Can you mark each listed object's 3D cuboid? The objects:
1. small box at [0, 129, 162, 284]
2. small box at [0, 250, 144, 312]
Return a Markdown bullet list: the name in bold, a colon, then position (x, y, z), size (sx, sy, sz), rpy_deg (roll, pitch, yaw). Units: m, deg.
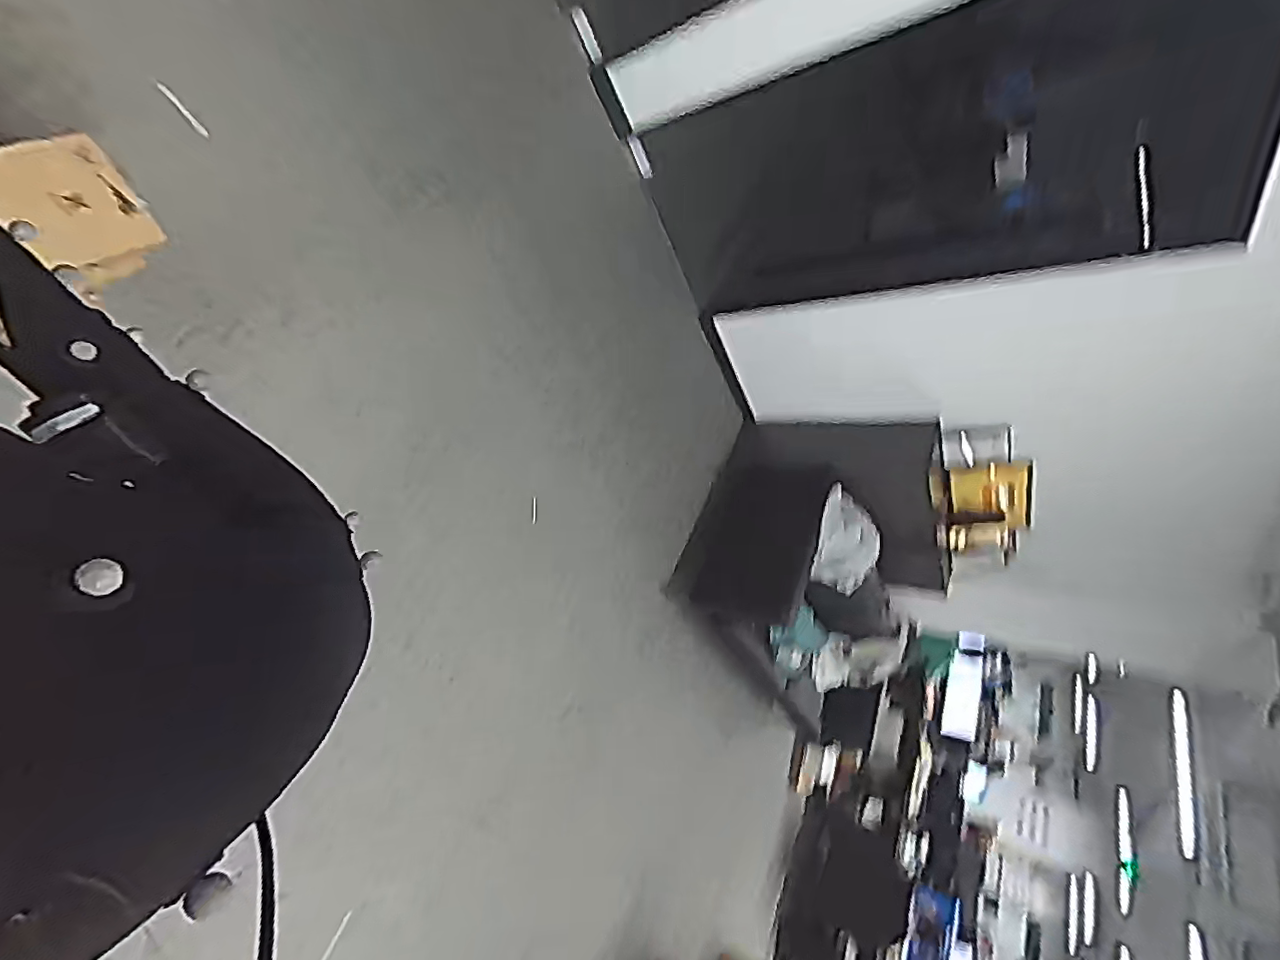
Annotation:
- **small box**: position (-0.938, -0.432, 0.870), size (0.179, 0.176, 0.168), rpy_deg (-49, 131, -38)
- **small box**: position (-1.068, -0.421, 0.971), size (0.179, 0.176, 0.168), rpy_deg (-53, 133, -36)
